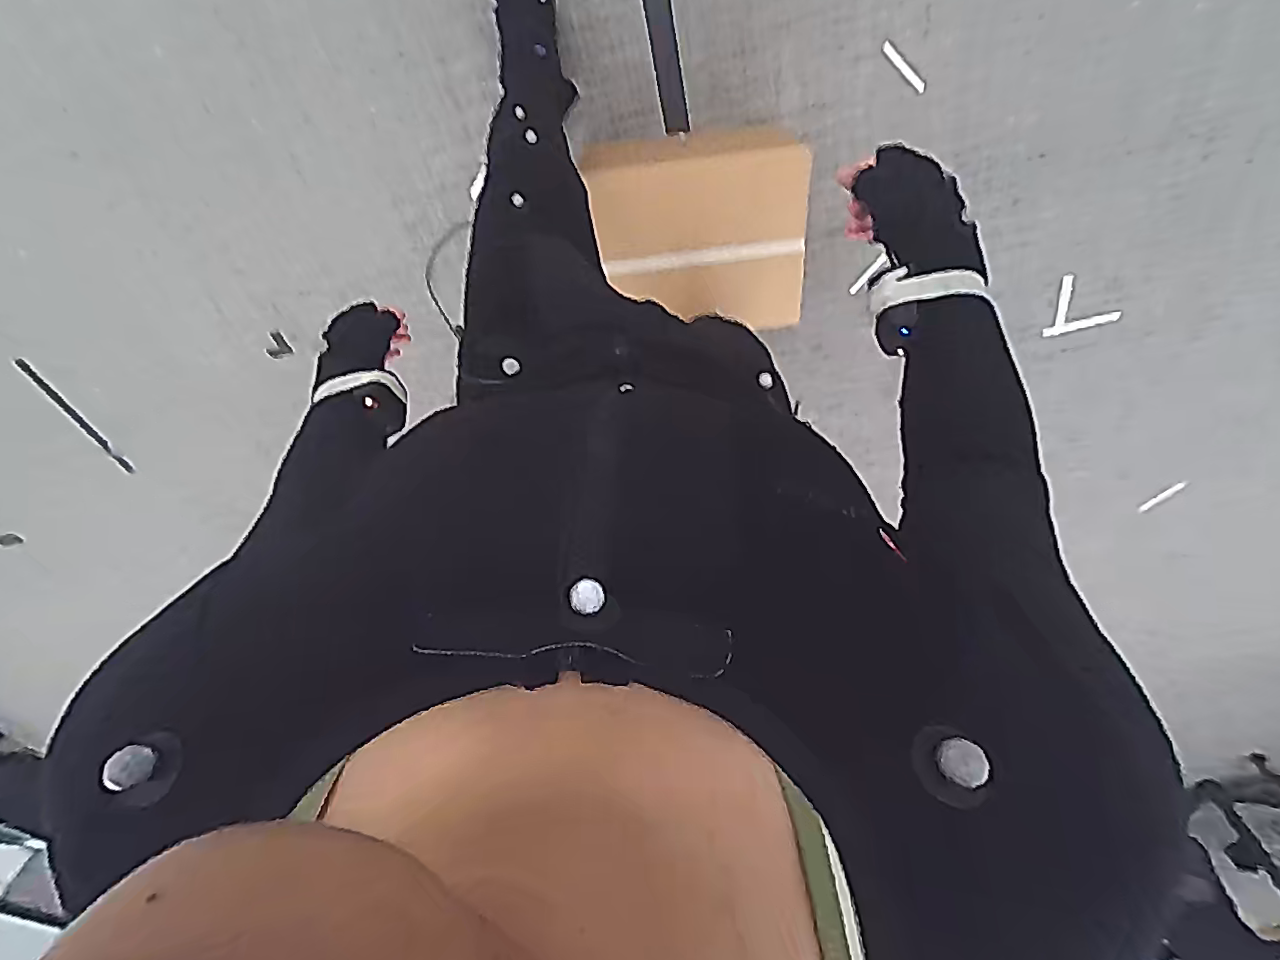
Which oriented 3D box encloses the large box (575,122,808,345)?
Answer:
[{"bbox_3d":[0.102,-0.509,1.114,0.408,0.320,0.320,-5,129,4],"label":"large box"}]
